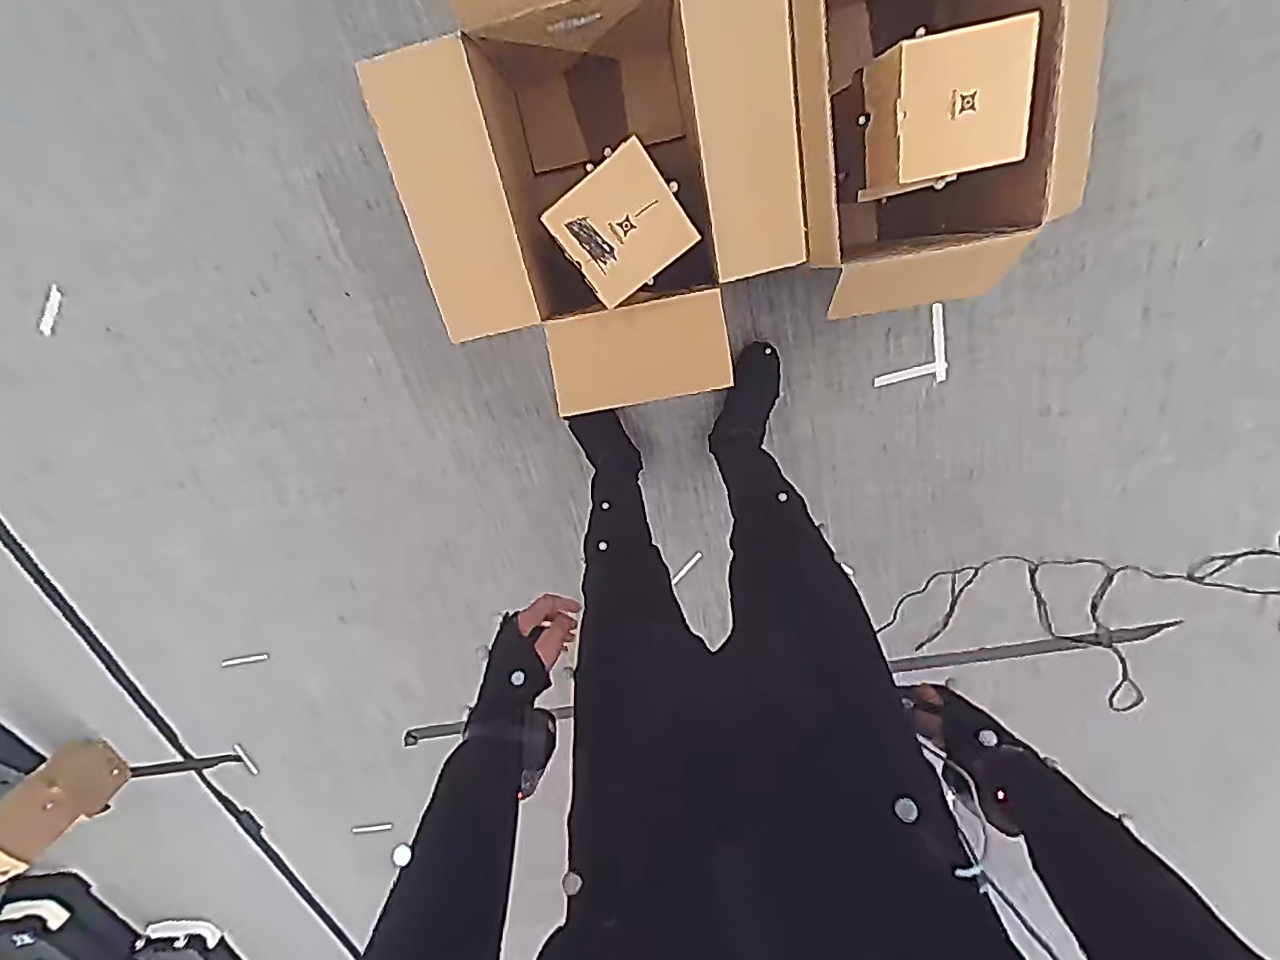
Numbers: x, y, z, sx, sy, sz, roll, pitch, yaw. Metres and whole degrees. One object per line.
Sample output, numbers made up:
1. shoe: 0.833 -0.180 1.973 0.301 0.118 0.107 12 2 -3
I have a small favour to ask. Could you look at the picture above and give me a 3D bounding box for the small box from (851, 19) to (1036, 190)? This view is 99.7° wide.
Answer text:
1. small box: 0.426 -0.532 0.790 0.179 0.176 0.168 -10 116 5
